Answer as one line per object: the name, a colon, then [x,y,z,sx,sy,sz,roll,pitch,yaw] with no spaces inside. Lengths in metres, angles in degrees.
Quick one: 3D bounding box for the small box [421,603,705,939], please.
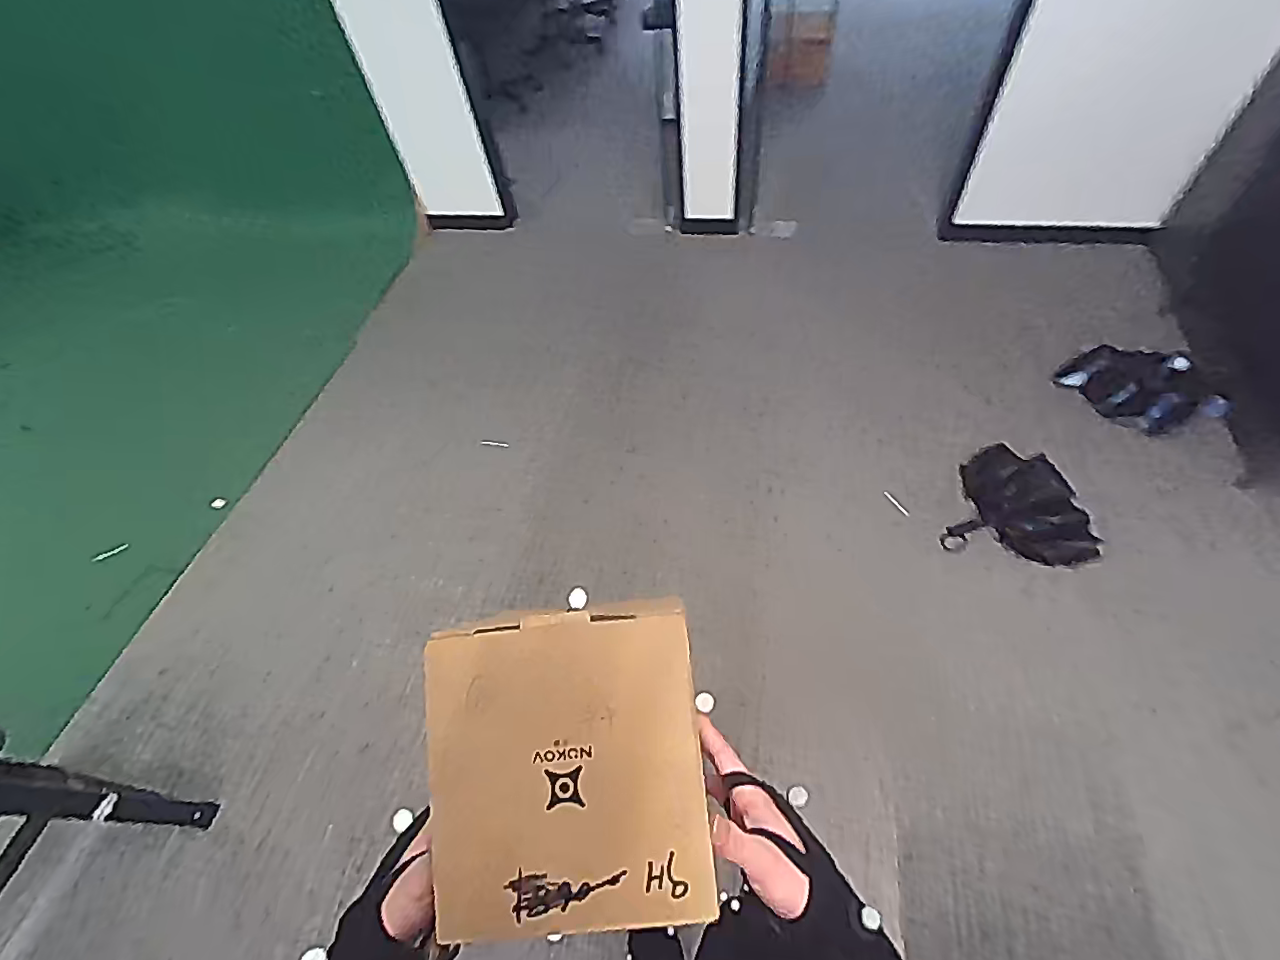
small box: [-0.047,0.189,0.407,0.168,0.176,0.179,-7,80,2]
